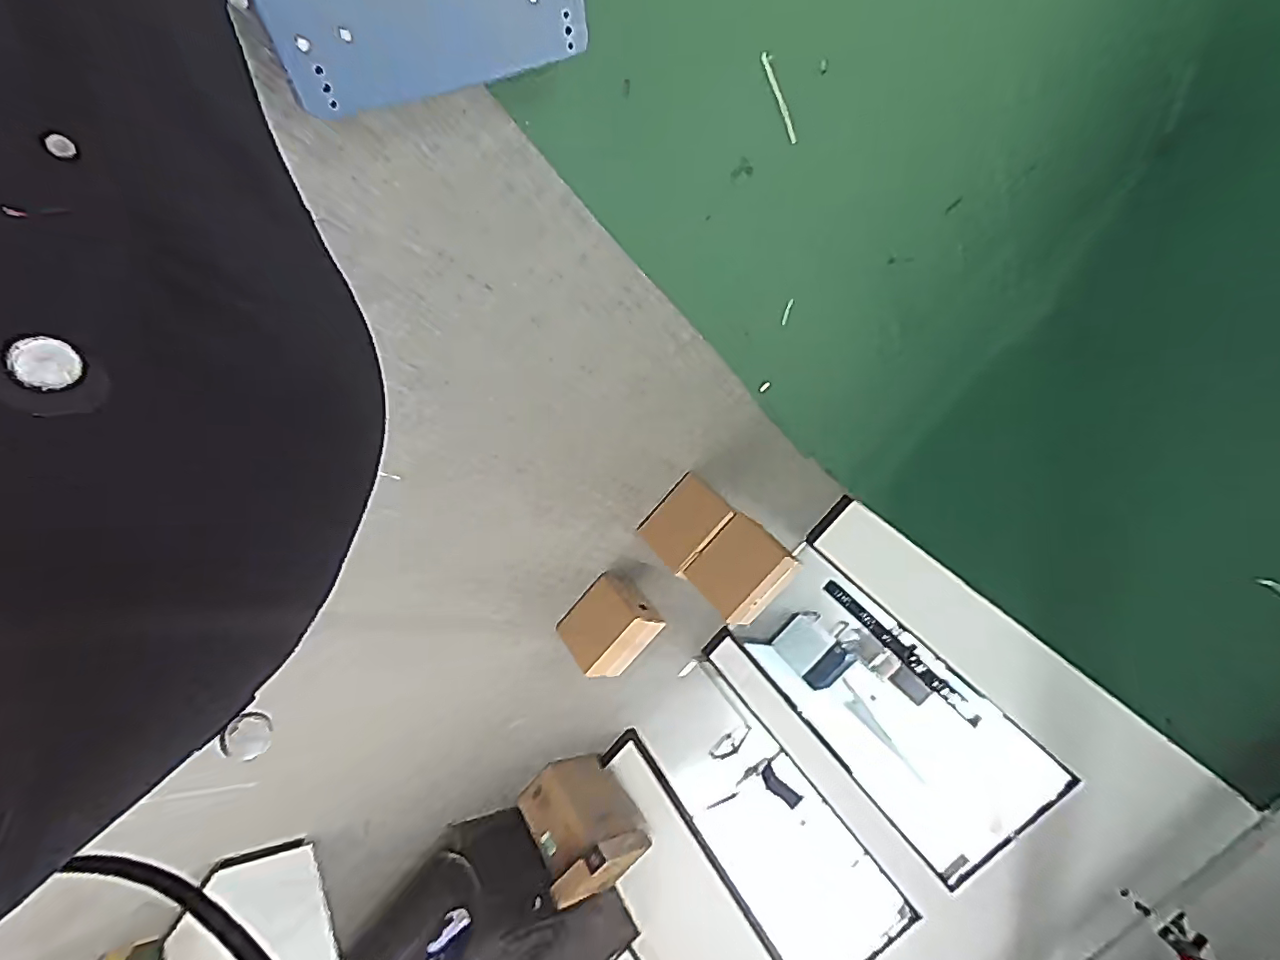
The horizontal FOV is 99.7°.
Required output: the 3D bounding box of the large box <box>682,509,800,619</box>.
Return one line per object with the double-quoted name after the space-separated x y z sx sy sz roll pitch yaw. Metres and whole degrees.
0.478 0.402 2.556 0.408 0.320 0.320 -49 148 9 "large box"
